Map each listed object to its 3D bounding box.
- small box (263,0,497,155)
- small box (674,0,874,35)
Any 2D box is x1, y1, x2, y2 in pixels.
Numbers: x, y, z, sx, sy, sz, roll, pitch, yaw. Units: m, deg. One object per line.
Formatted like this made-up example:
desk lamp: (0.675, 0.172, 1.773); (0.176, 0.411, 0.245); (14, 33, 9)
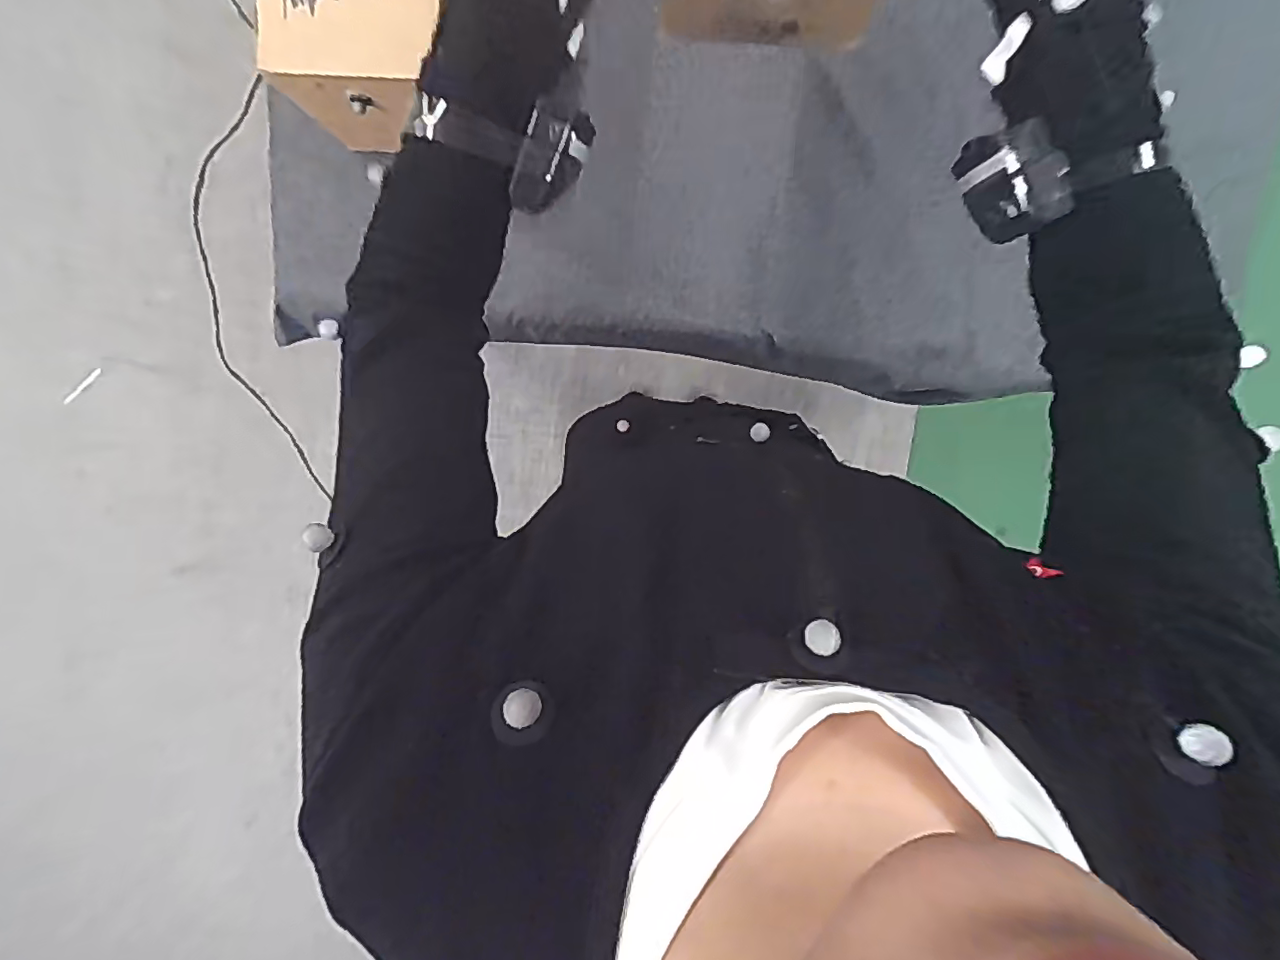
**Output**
small box: (-0.265, -0.473, 0.581); (0.179, 0.176, 0.168); (2, 99, 0)
small box: (0.104, -0.441, 0.355); (0.168, 0.176, 0.179); (3, 97, 1)
